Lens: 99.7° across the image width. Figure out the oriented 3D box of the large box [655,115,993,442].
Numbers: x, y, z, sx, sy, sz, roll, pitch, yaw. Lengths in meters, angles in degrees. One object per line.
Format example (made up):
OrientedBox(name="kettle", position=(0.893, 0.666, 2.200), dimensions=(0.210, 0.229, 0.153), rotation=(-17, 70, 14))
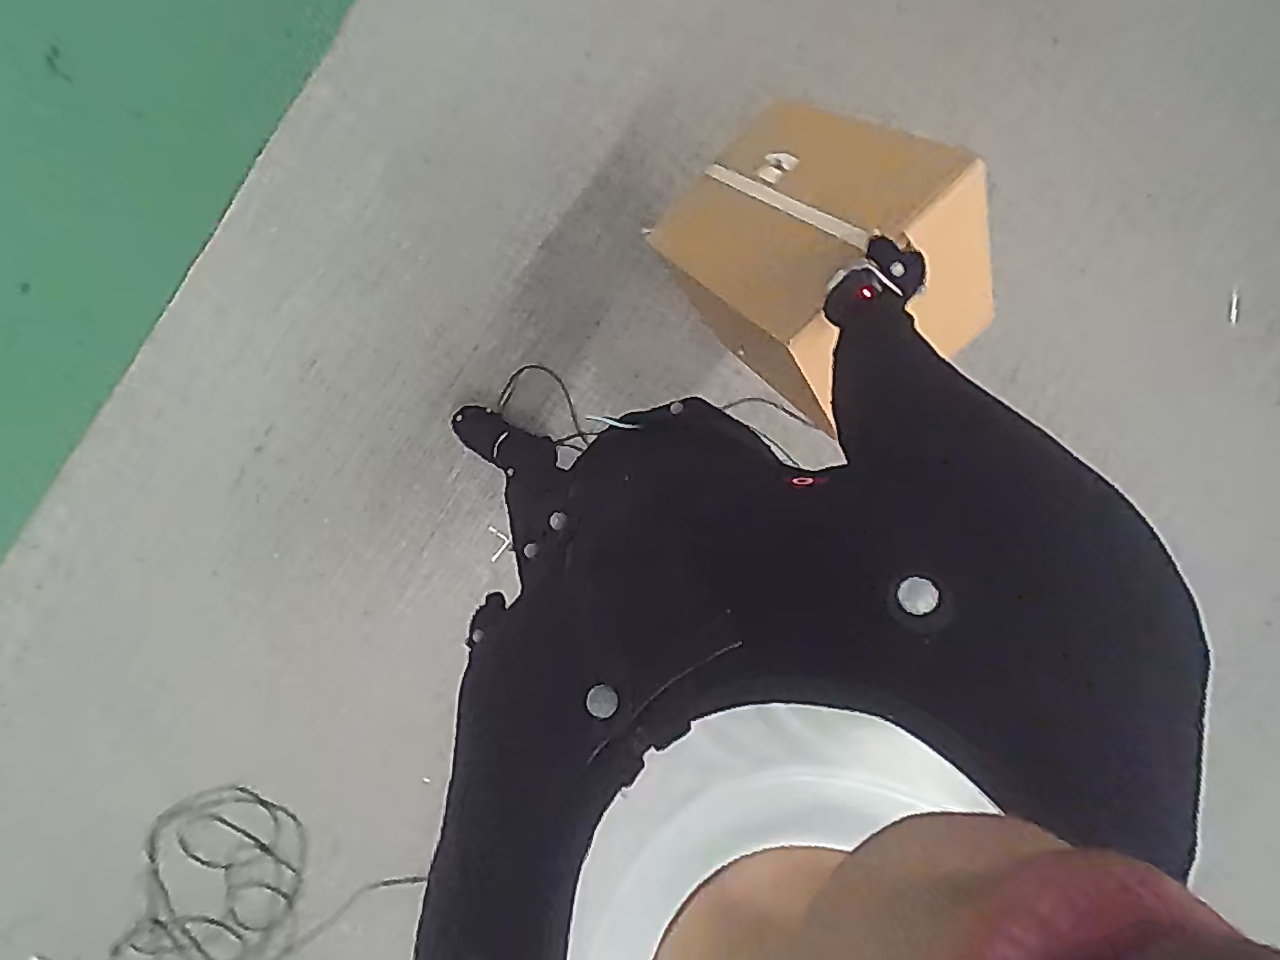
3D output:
OrientedBox(name="large box", position=(0.301, -0.339, 0.921), dimensions=(0.320, 0.408, 0.320), rotation=(-42, 138, 9))
